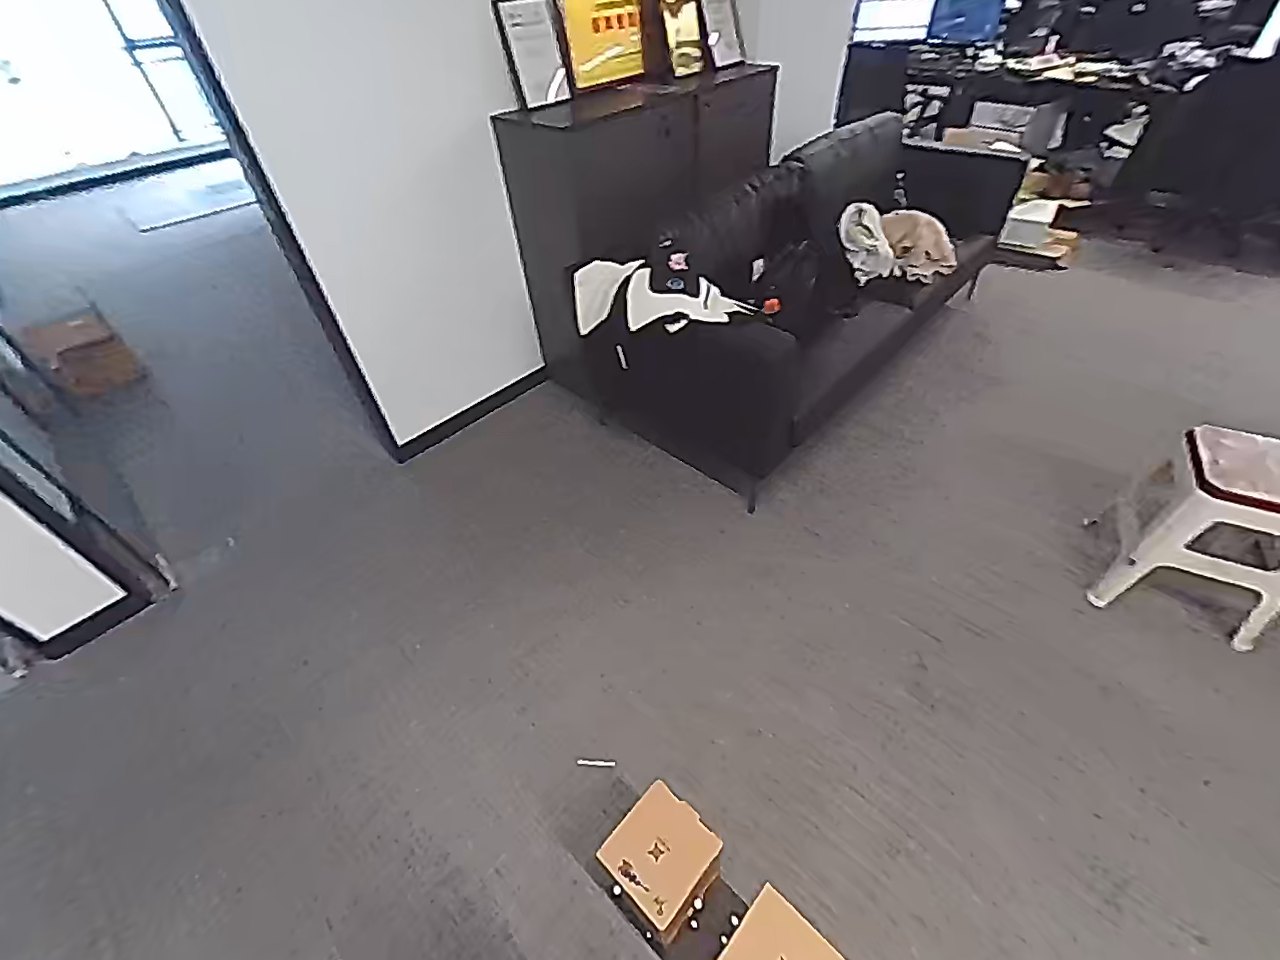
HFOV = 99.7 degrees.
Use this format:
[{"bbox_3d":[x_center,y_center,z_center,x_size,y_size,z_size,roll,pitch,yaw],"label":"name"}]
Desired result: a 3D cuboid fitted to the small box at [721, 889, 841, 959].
[{"bbox_3d":[0.224,0.841,0.900,0.168,0.176,0.179,32,54,32],"label":"small box"}]
